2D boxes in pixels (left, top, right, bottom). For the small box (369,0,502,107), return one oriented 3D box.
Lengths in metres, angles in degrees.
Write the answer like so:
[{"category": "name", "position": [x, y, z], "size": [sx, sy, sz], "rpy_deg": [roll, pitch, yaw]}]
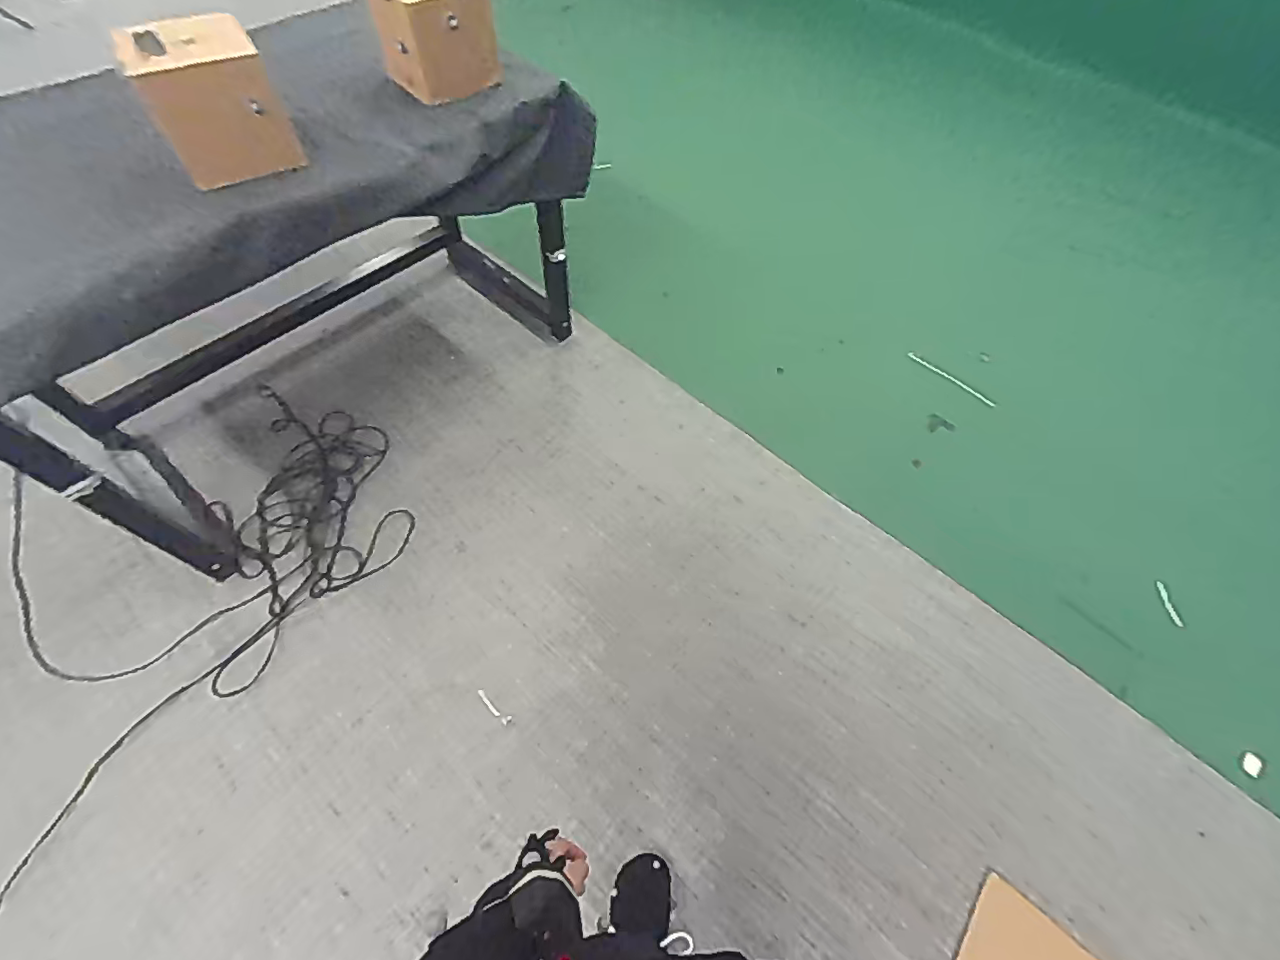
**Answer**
[{"category": "small box", "position": [-0.395, -0.870, 1.060], "size": [0.179, 0.176, 0.168], "rpy_deg": [-37, 69, -23]}]
